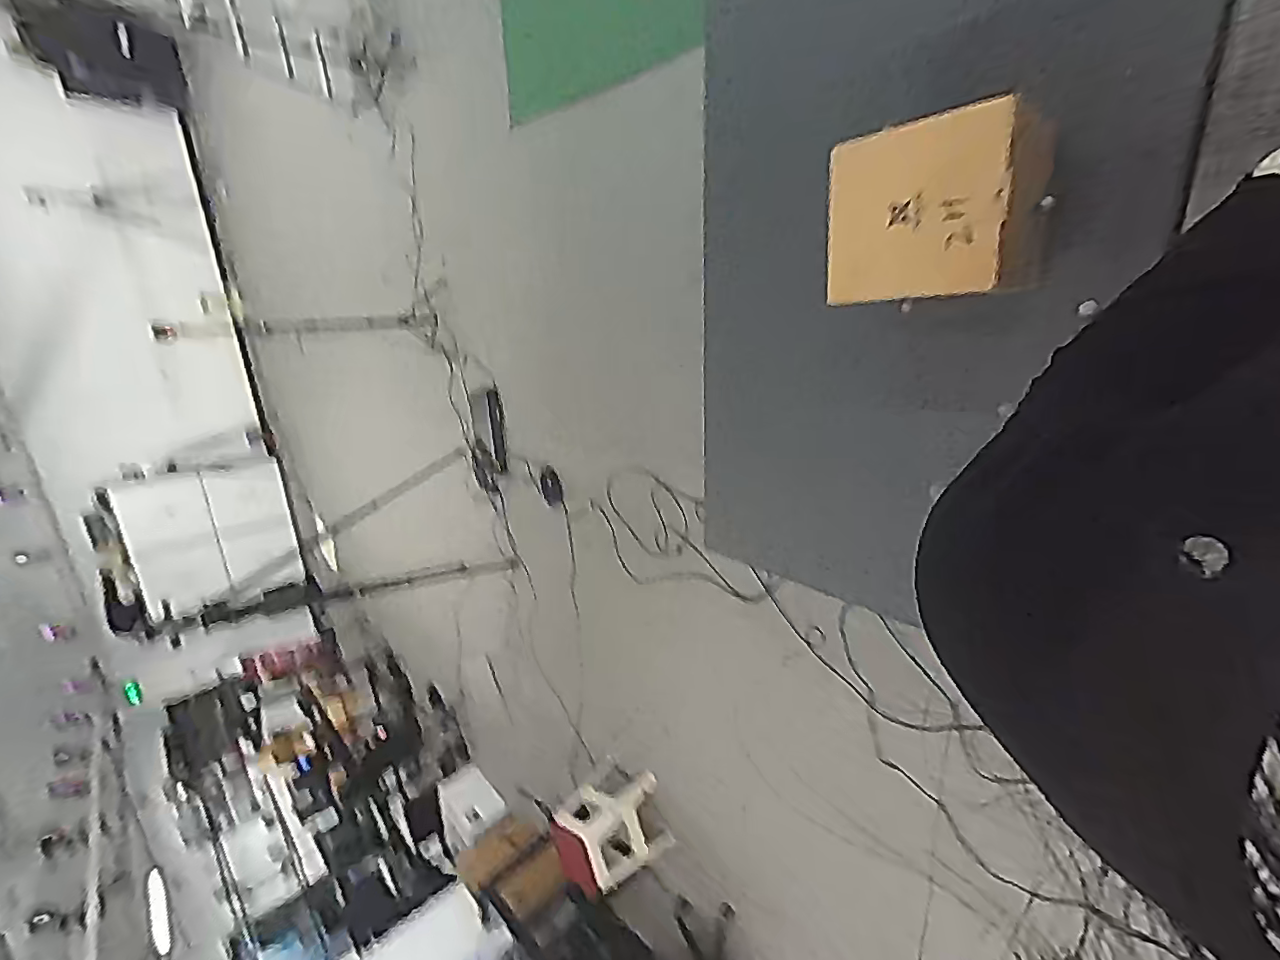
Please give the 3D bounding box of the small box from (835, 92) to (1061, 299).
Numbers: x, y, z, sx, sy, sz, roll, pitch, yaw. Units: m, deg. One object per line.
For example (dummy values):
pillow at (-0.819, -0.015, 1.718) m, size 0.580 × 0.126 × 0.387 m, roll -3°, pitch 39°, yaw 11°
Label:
small box at (0.343, -0.300, 0.614) m, size 0.179 × 0.176 × 0.168 m, roll 11°, pitch 113°, yaw 46°
